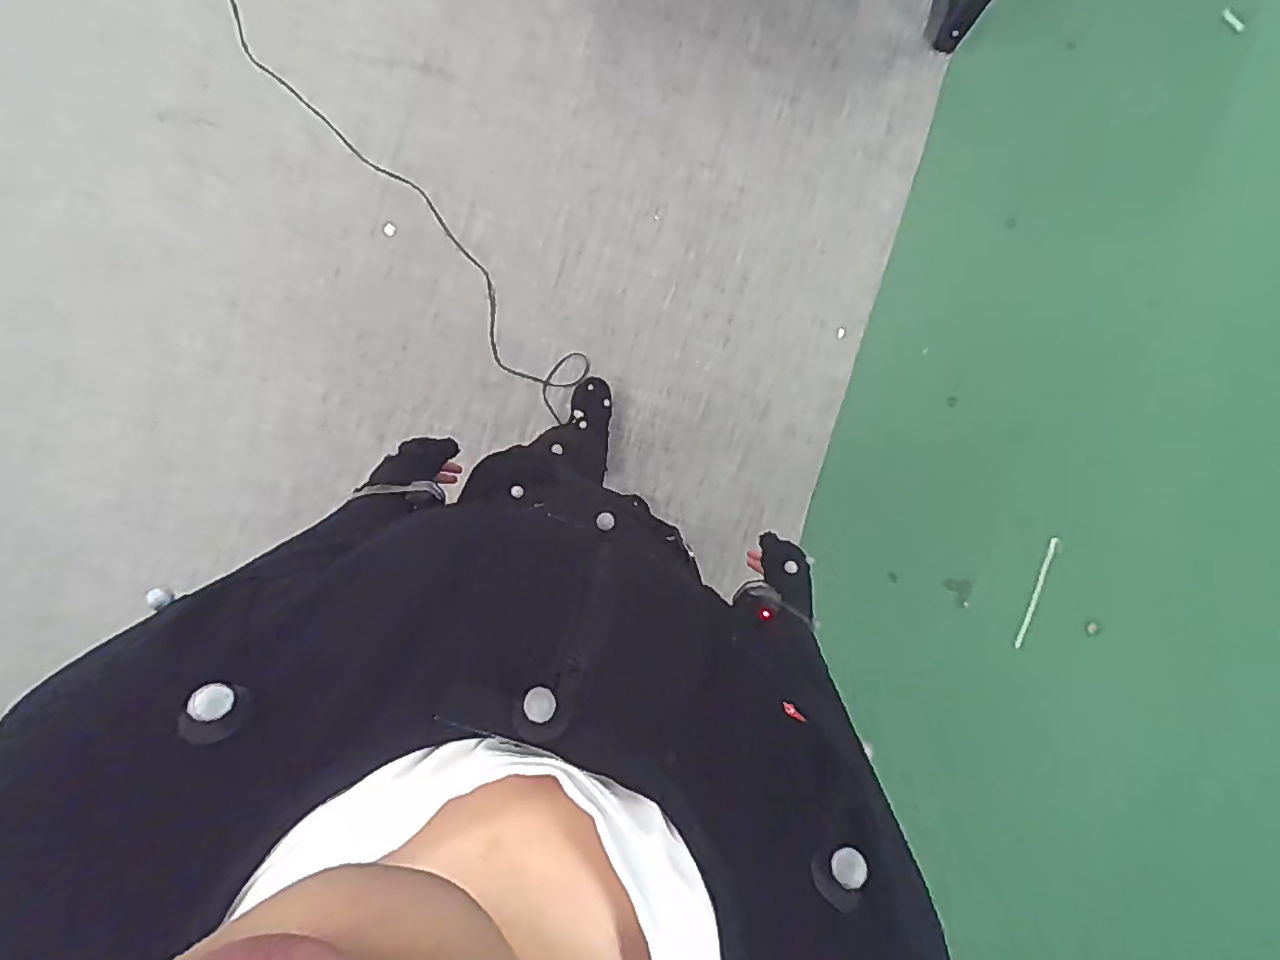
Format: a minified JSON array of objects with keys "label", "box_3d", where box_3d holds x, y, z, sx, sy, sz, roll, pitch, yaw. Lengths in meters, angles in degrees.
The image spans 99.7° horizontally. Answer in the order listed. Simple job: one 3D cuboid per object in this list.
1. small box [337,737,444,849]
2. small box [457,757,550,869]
[{"label":"small box","box_3d":[-0.611,0.769,1.347,0.179,0.176,0.168,13,91,-1]},{"label":"small box","box_3d":[-0.334,0.822,1.351,0.179,0.176,0.168,8,92,1]}]
